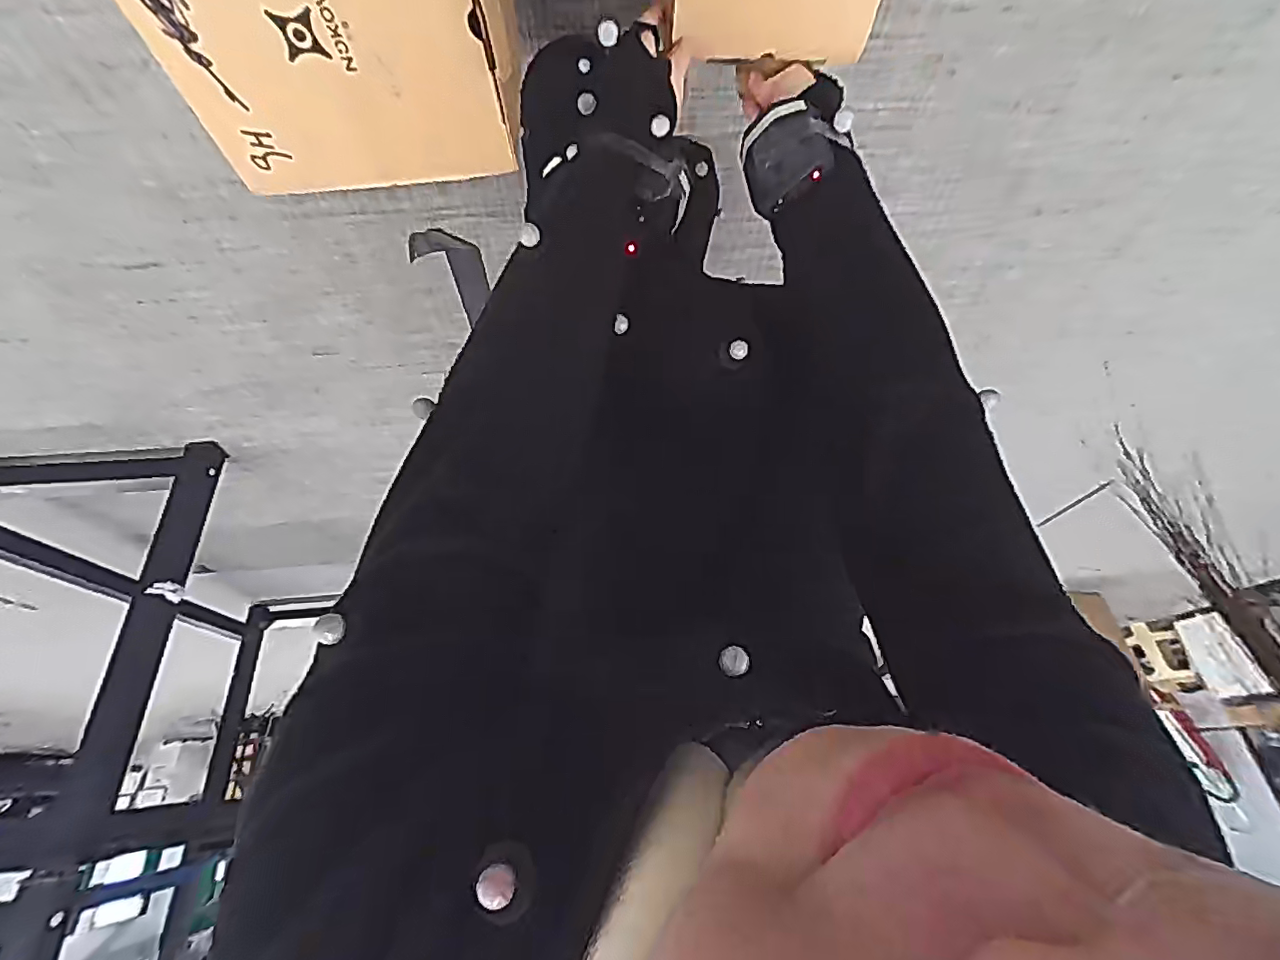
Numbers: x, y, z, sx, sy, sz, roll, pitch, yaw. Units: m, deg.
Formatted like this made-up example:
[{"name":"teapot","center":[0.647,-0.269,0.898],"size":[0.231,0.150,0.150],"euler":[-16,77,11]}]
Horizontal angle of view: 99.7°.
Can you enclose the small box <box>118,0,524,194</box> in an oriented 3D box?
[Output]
[{"name":"small box","center":[-0.172,-0.299,0.313],"size":[0.179,0.176,0.168],"euler":[-6,152,-3]}]

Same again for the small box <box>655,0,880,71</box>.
[{"name":"small box","center":[0.101,-0.458,0.419],"size":[0.168,0.176,0.179],"euler":[-3,148,-7]}]
